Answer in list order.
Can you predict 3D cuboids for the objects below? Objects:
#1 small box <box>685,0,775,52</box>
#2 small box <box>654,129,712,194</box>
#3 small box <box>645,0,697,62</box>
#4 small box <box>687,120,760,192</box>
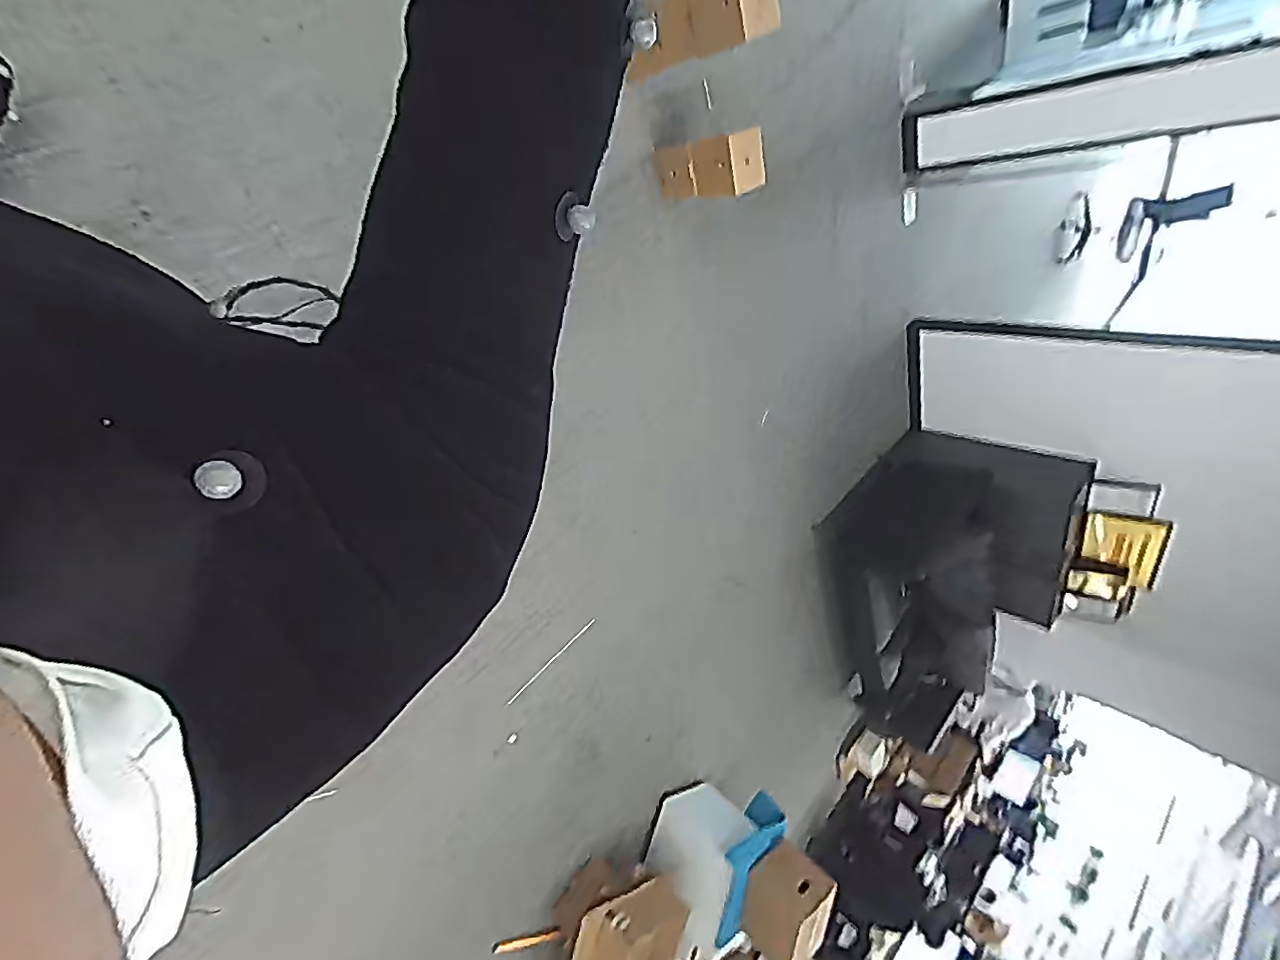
[{"bbox_3d":[0.239,-1.313,1.473,0.168,0.176,0.179,-42,130,-24],"label":"small box"},{"bbox_3d":[0.168,-1.138,1.938,0.179,0.176,0.168,-34,127,-28],"label":"small box"},{"bbox_3d":[0.136,-1.368,1.590,0.179,0.176,0.168,-43,130,-25],"label":"small box"},{"bbox_3d":[0.283,-1.092,1.832,0.168,0.176,0.179,-36,126,-29],"label":"small box"}]
